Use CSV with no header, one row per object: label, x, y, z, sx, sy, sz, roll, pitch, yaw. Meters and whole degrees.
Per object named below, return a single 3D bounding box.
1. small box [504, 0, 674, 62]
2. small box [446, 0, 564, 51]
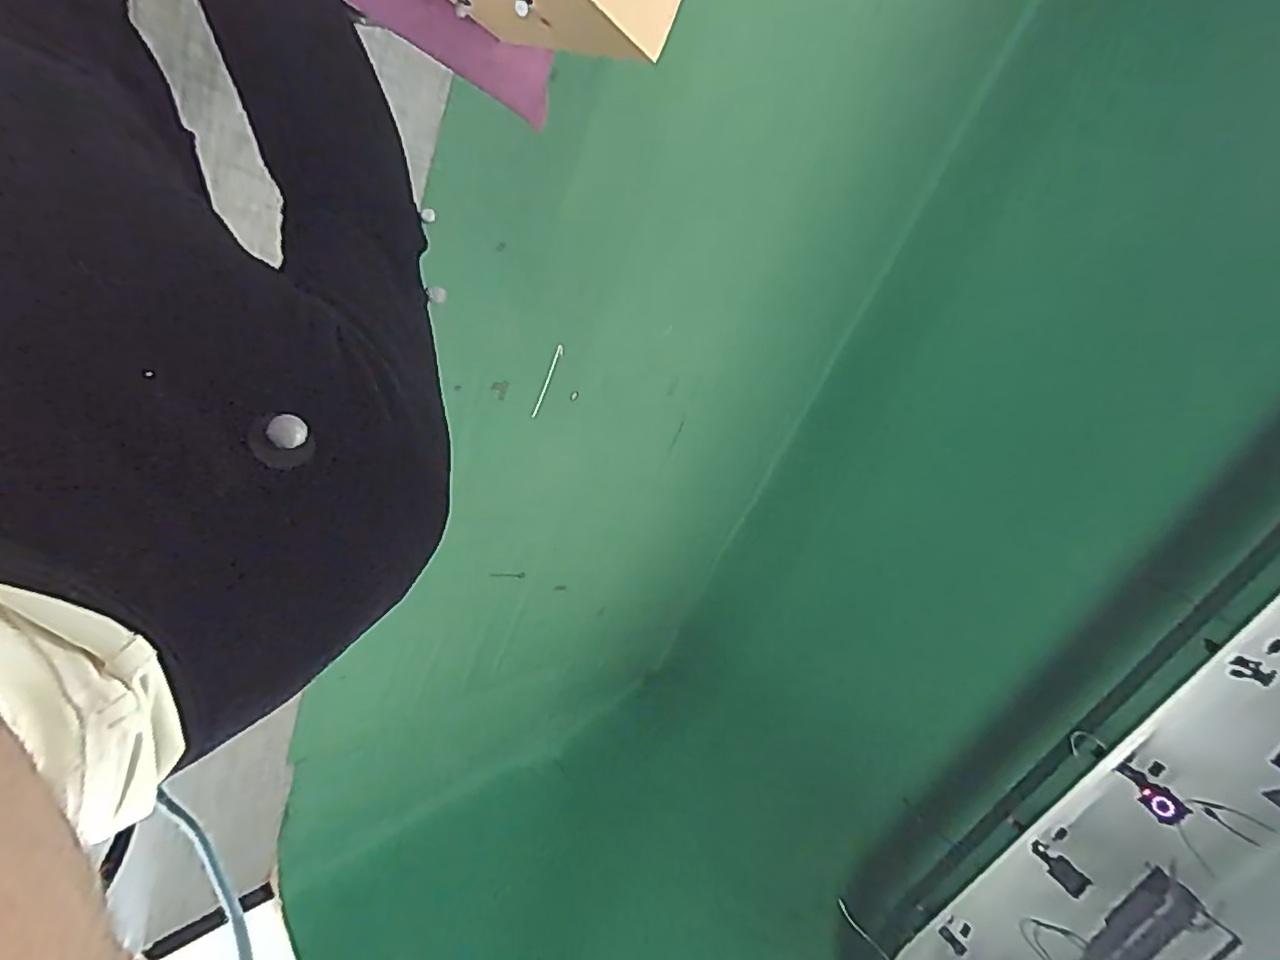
small box,-0.059,-0.581,0.557,0.168,0.176,0.179,3,119,-50
small box,-0.171,-0.662,0.644,0.179,0.176,0.168,1,119,-52
